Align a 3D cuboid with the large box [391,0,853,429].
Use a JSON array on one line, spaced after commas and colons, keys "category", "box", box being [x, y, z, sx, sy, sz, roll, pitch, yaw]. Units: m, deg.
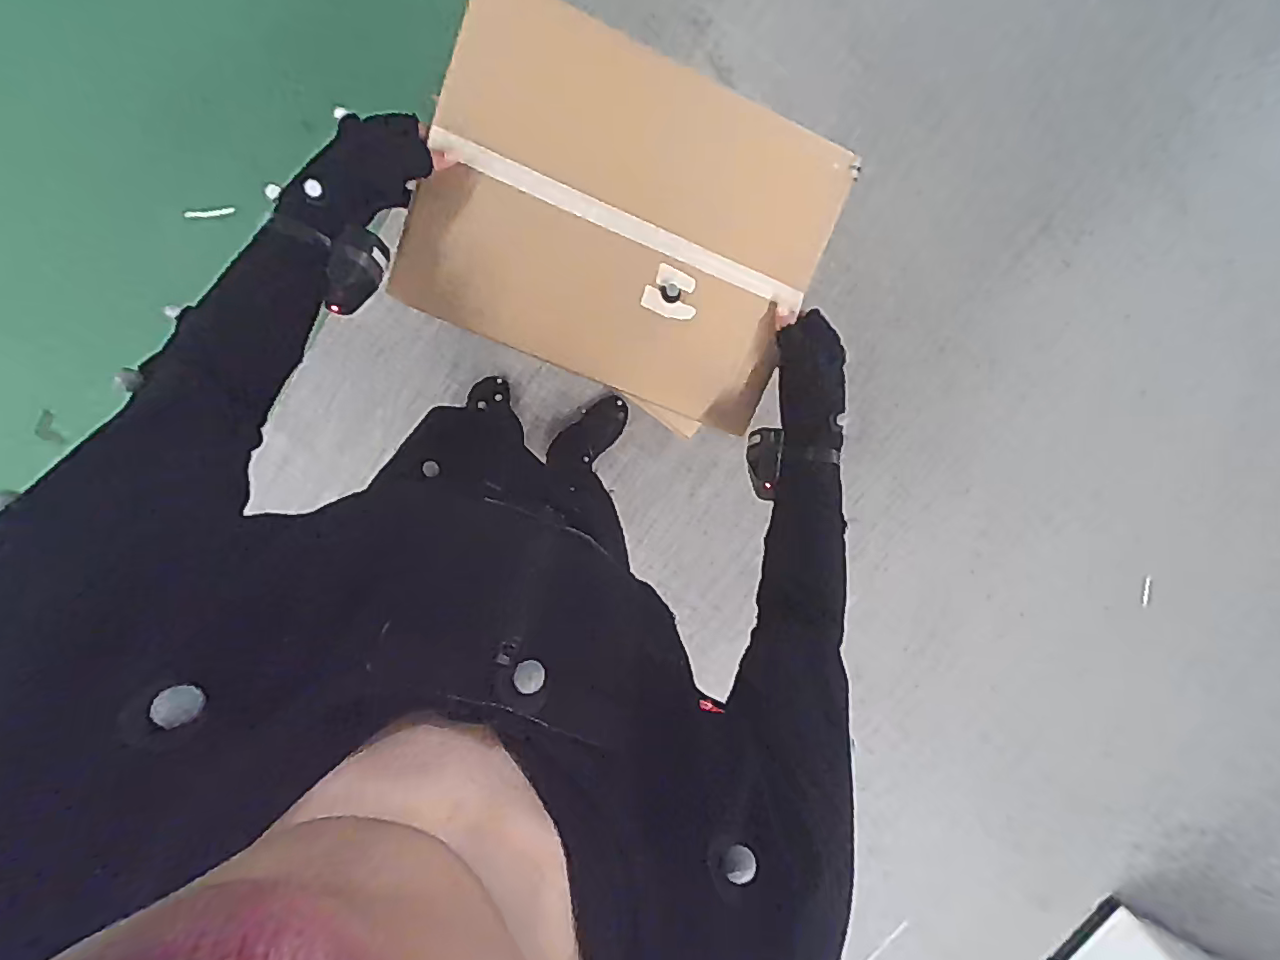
[{"category": "large box", "box": [-0.032, -0.287, 0.691, 0.408, 0.320, 0.320, 20, 99, -10]}]
